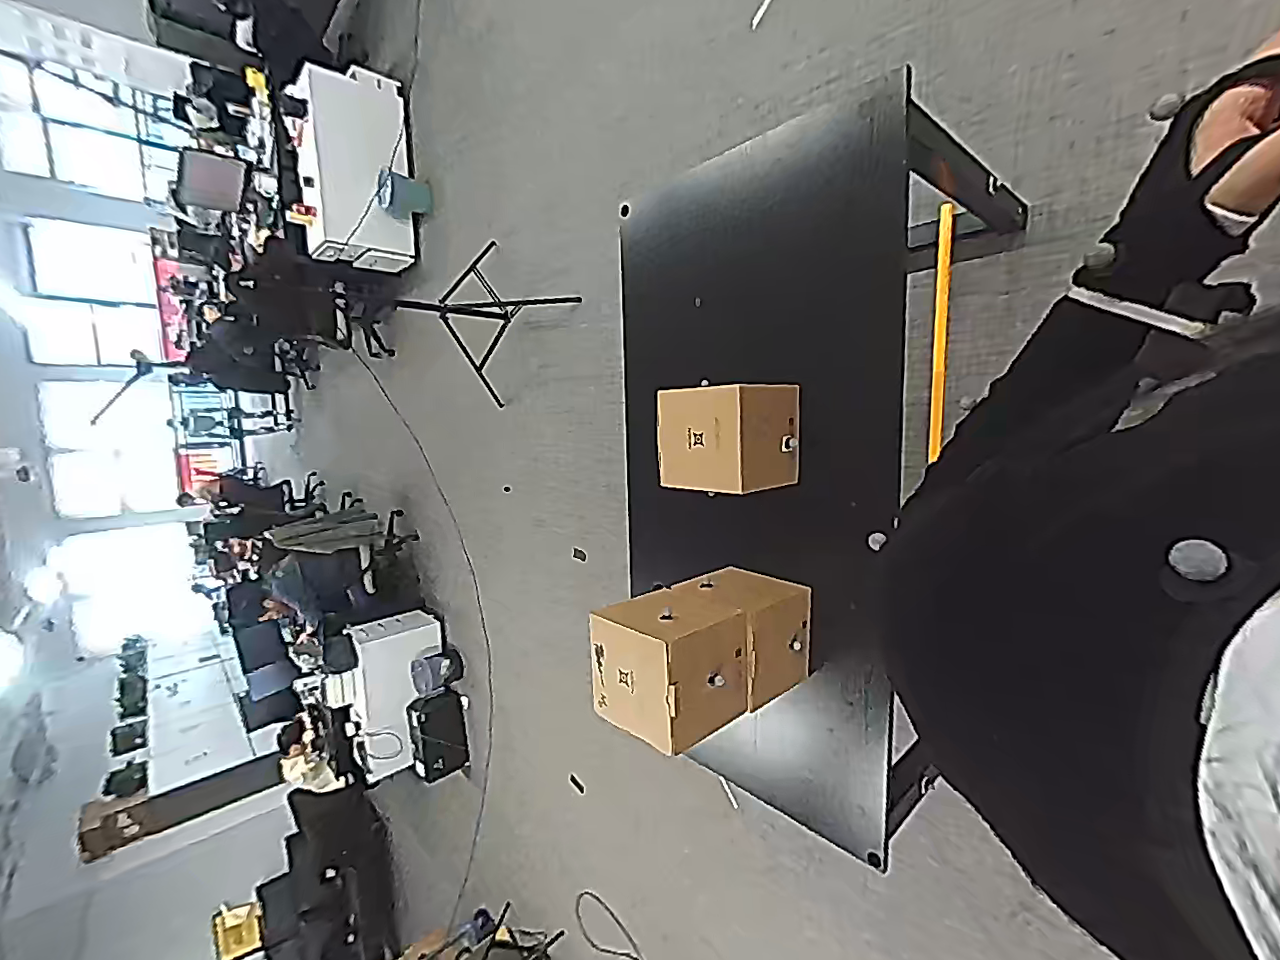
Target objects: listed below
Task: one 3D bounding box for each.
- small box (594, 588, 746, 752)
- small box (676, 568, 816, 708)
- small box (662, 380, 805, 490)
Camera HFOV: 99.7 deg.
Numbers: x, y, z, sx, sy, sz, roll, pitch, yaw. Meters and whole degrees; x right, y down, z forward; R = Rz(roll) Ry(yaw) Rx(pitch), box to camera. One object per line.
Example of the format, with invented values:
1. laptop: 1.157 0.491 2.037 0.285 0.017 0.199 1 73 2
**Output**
1. small box: 0.051 0.277 0.837 0.179 0.176 0.168 4 98 48
2. small box: 0.180 0.259 0.938 0.179 0.176 0.168 8 102 48
3. small box: 0.157 -0.078 0.916 0.179 0.176 0.168 4 100 48
